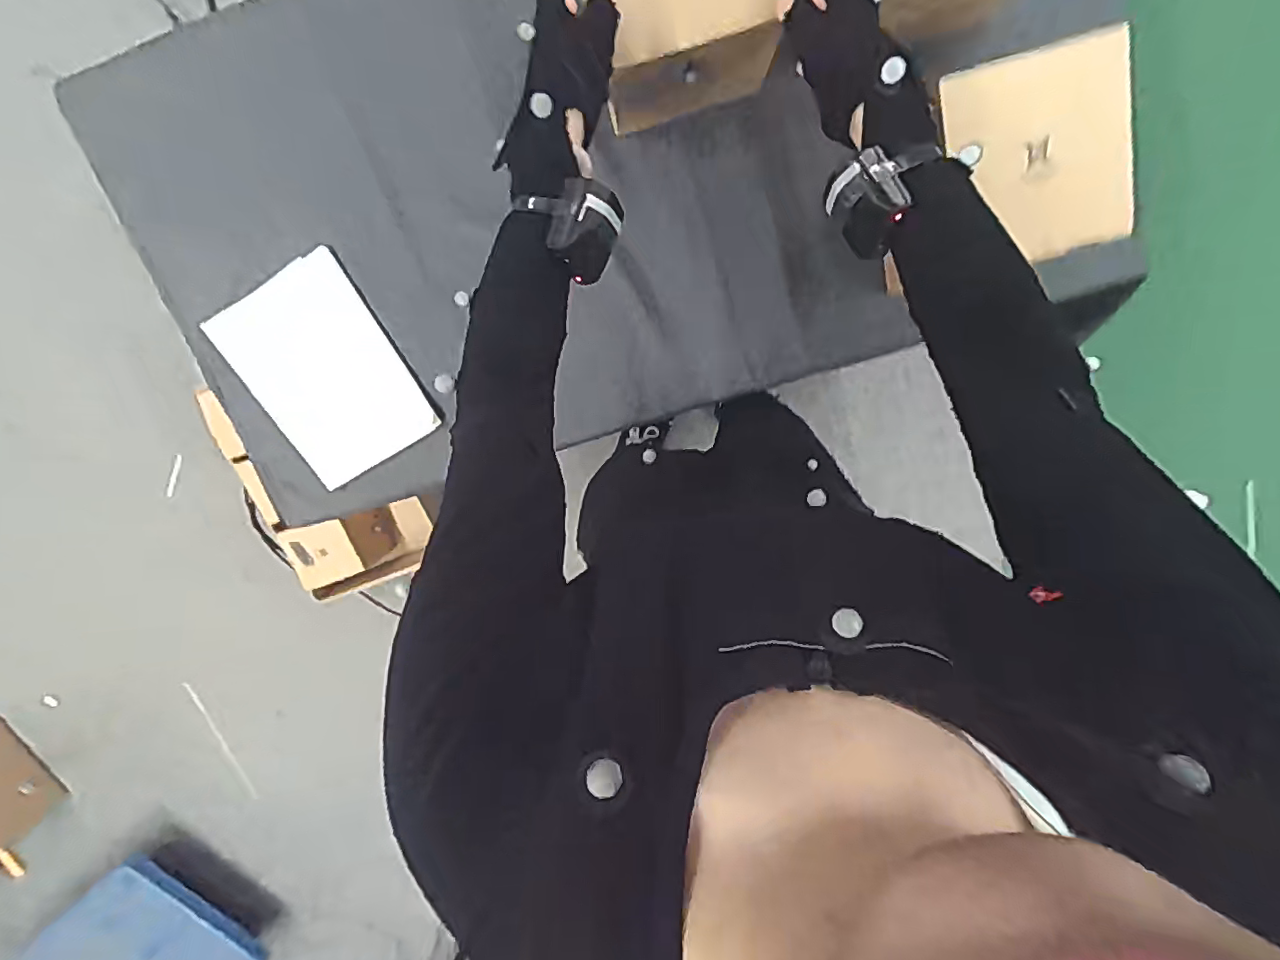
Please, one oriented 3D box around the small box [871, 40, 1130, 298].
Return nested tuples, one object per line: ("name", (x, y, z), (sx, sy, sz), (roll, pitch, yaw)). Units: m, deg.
("small box", (0.365, -0.307, 0.577), (0.168, 0.176, 0.179), (-13, 103, 5))
